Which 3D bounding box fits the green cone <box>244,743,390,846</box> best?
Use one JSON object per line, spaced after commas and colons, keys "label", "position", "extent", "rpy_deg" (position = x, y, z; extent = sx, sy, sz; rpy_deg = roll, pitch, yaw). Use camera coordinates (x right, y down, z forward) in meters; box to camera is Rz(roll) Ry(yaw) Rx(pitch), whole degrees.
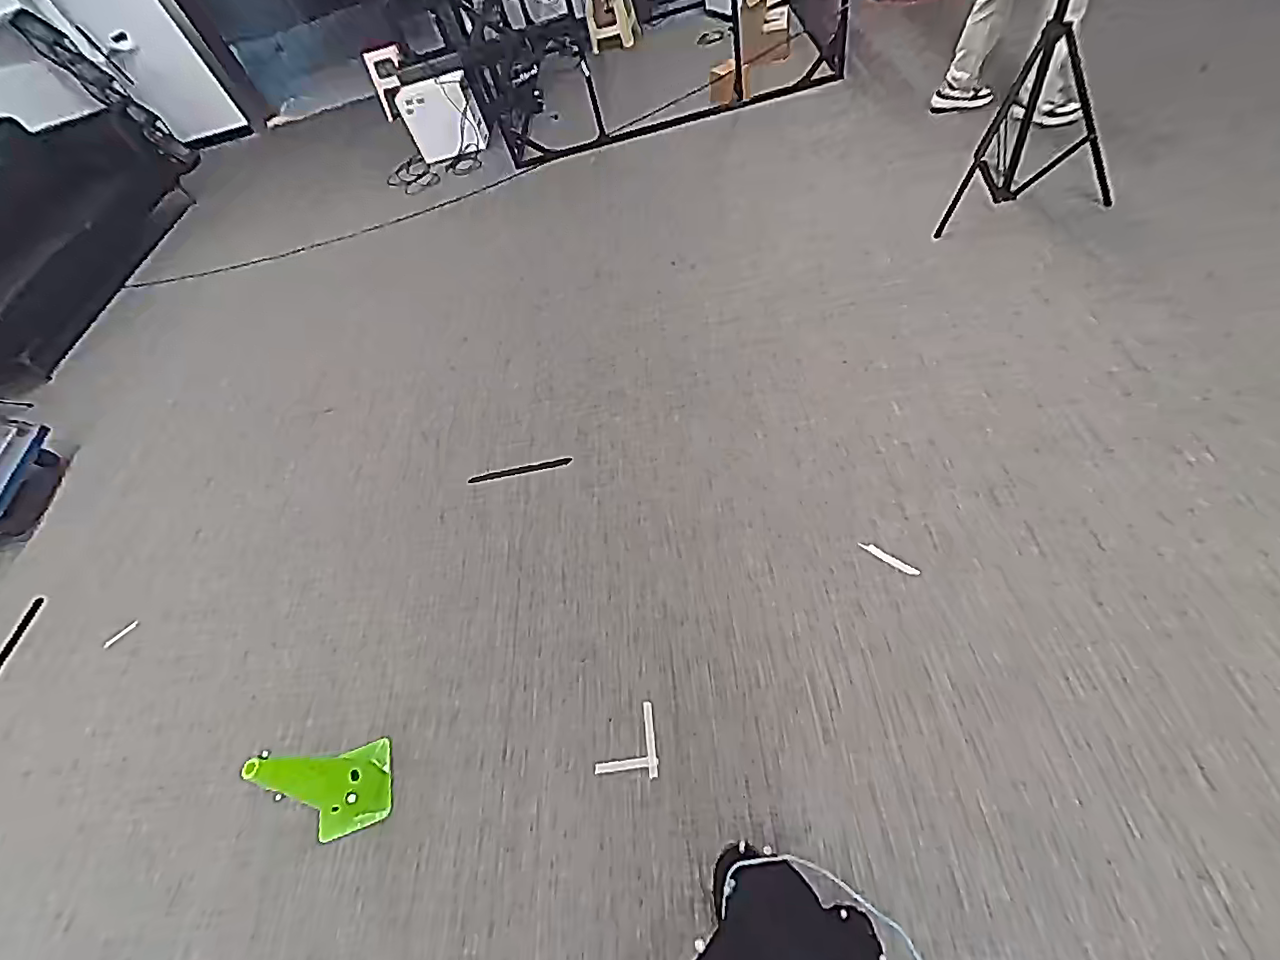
{"label": "green cone", "position": [-0.792, 0.728, 1.290], "extent": [0.202, 0.368, 0.200], "rpy_deg": [-22, 53, -1]}
